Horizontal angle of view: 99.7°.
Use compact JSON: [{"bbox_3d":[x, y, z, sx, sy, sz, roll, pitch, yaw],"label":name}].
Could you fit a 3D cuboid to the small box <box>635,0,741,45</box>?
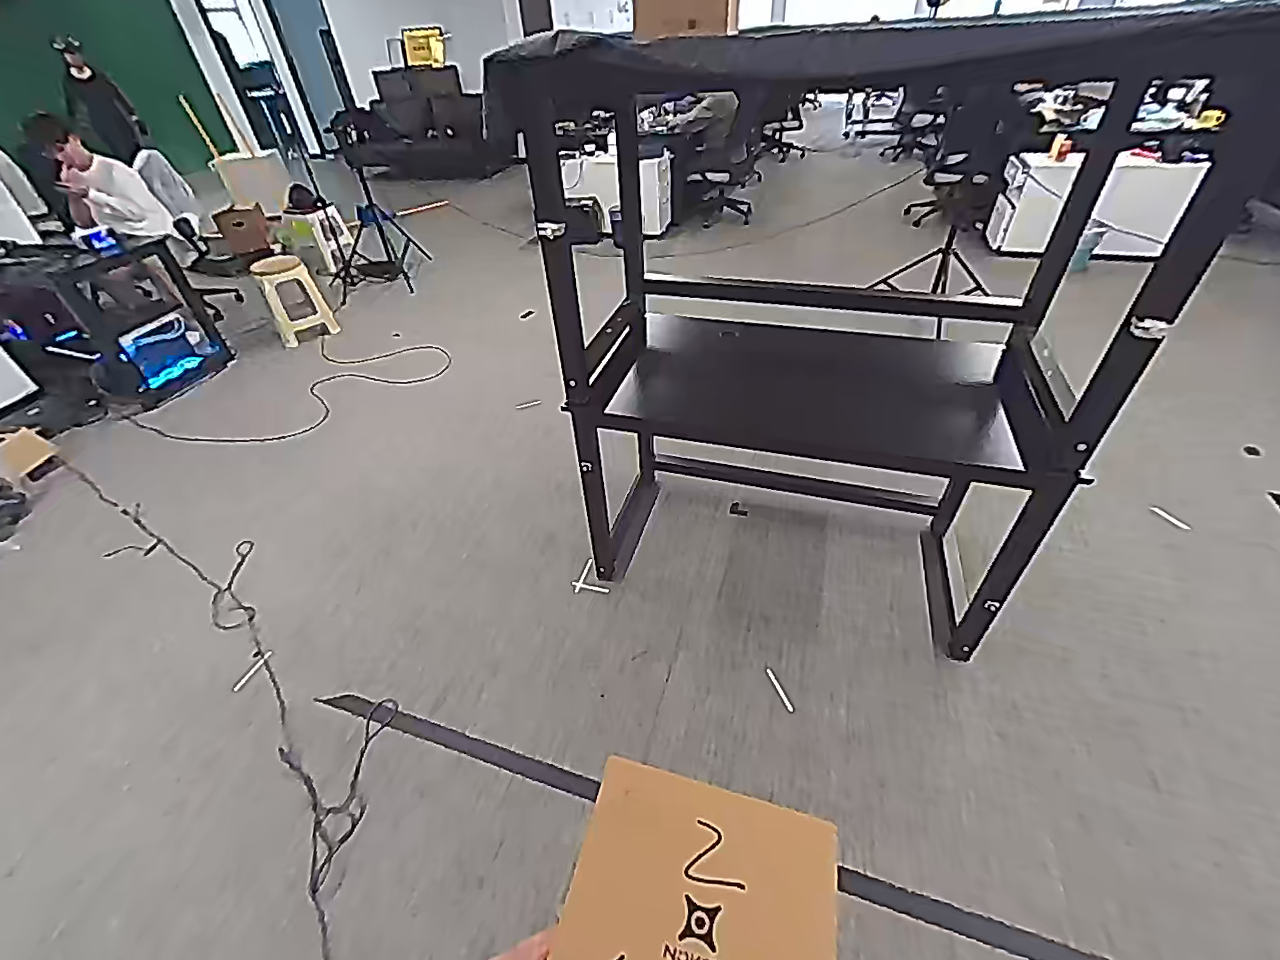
[{"bbox_3d":[0.086,-0.862,0.930,0.168,0.176,0.179,7,41,11],"label":"small box"}]
